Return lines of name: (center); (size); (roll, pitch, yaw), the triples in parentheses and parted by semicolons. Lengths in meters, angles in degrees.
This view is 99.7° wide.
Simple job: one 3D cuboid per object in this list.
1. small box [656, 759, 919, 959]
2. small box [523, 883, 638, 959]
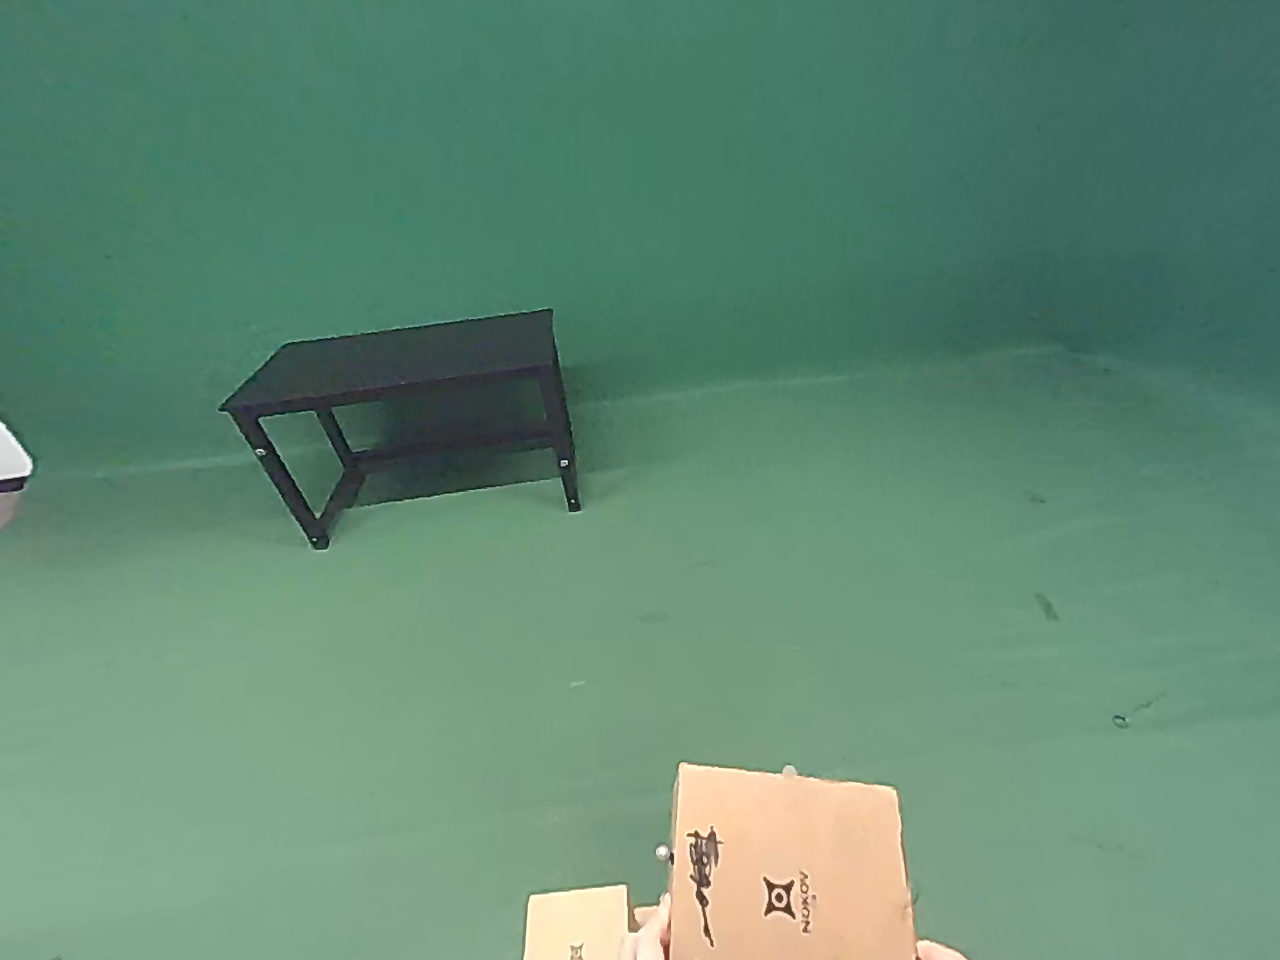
small box: (0.108, 0.341, 0.453); (0.179, 0.176, 0.168); (4, 58, 5)
small box: (-0.091, 0.787, 0.867); (0.168, 0.176, 0.179); (-6, 36, 0)
